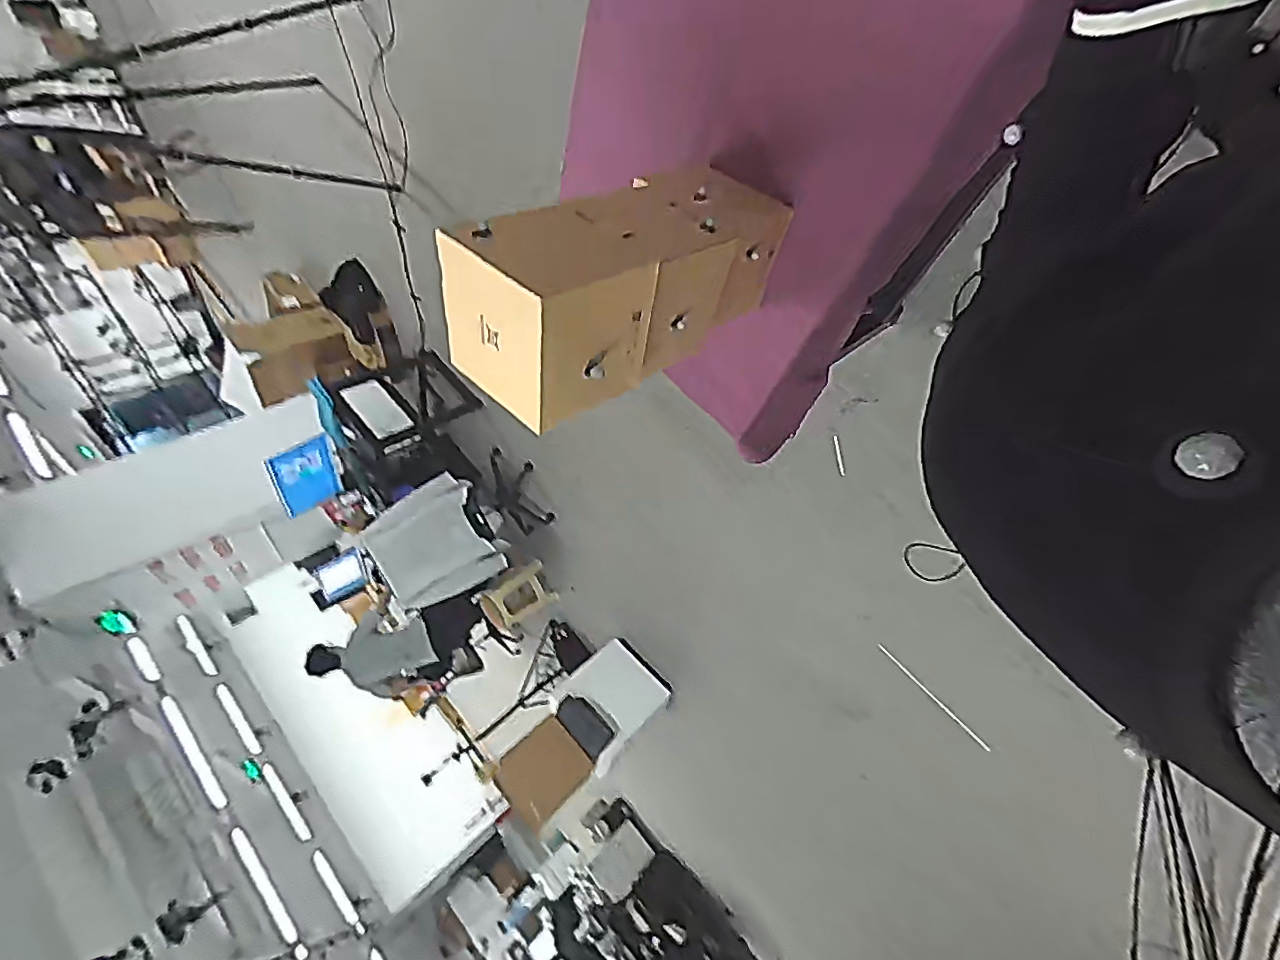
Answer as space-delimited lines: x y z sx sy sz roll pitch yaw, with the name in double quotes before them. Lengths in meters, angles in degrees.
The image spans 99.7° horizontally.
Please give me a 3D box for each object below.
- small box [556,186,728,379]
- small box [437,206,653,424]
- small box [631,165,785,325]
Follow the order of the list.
"small box" -0.005 -0.275 0.736 0.168 0.176 0.179 41 142 22
"small box" -0.107 -0.201 0.633 0.179 0.176 0.168 39 141 25
"small box" 0.092 -0.366 0.836 0.179 0.176 0.168 42 142 22
